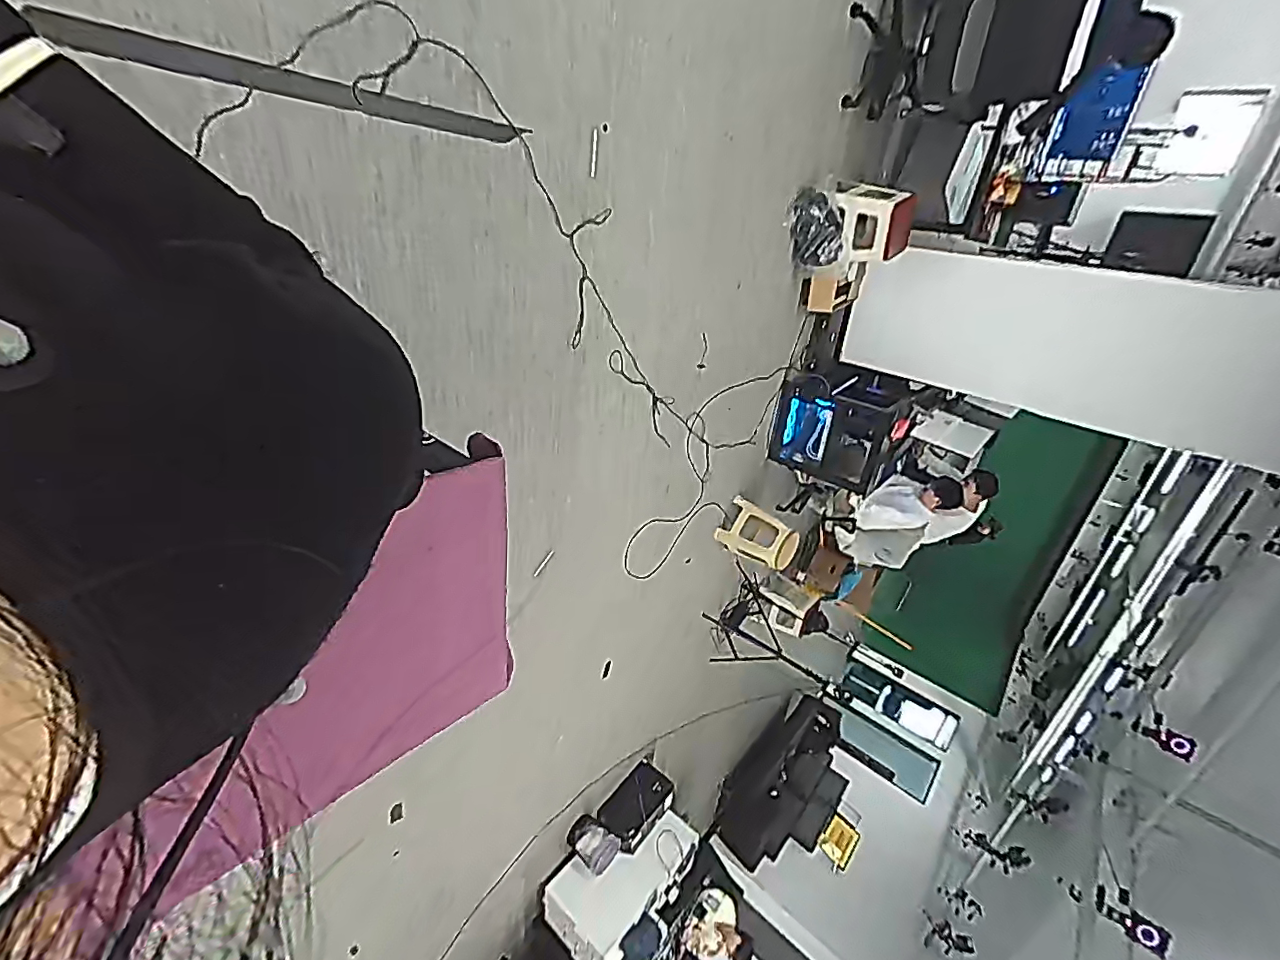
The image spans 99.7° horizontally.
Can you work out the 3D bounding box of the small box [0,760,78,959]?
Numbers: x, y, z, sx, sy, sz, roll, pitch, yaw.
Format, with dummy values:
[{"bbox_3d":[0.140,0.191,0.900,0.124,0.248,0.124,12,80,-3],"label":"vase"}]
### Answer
[{"bbox_3d":[-0.741,0.443,0.558,0.179,0.176,0.168,-25,131,-44],"label":"small box"}]
